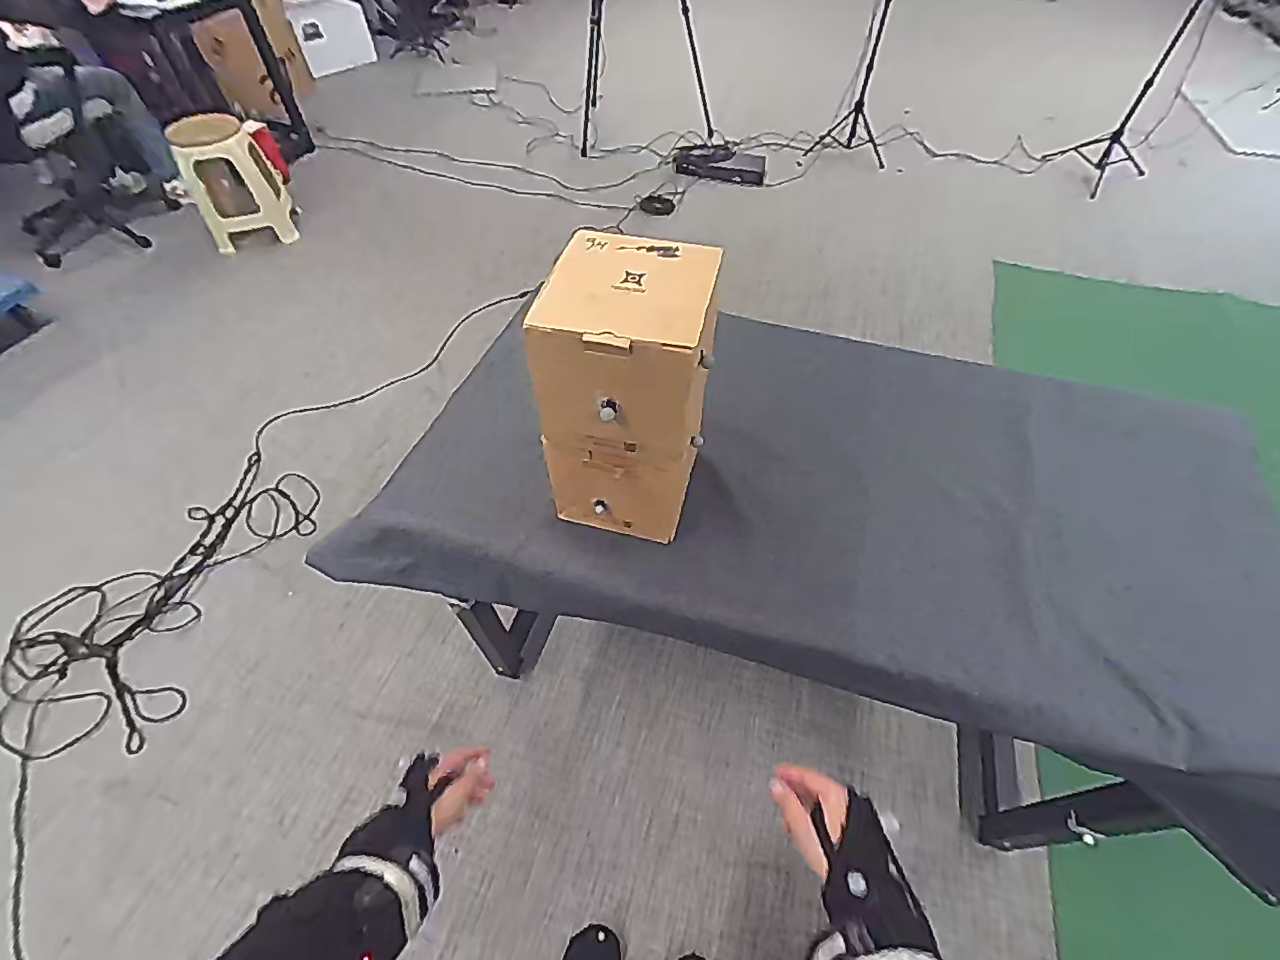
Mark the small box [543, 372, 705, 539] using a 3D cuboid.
[{"bbox_3d":[-0.017,-0.049,0.728,0.168,0.176,0.179,12,54,9],"label":"small box"}]

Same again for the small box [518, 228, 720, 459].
[{"bbox_3d":[-0.013,-0.145,0.595,0.168,0.176,0.179,11,54,8],"label":"small box"}]
